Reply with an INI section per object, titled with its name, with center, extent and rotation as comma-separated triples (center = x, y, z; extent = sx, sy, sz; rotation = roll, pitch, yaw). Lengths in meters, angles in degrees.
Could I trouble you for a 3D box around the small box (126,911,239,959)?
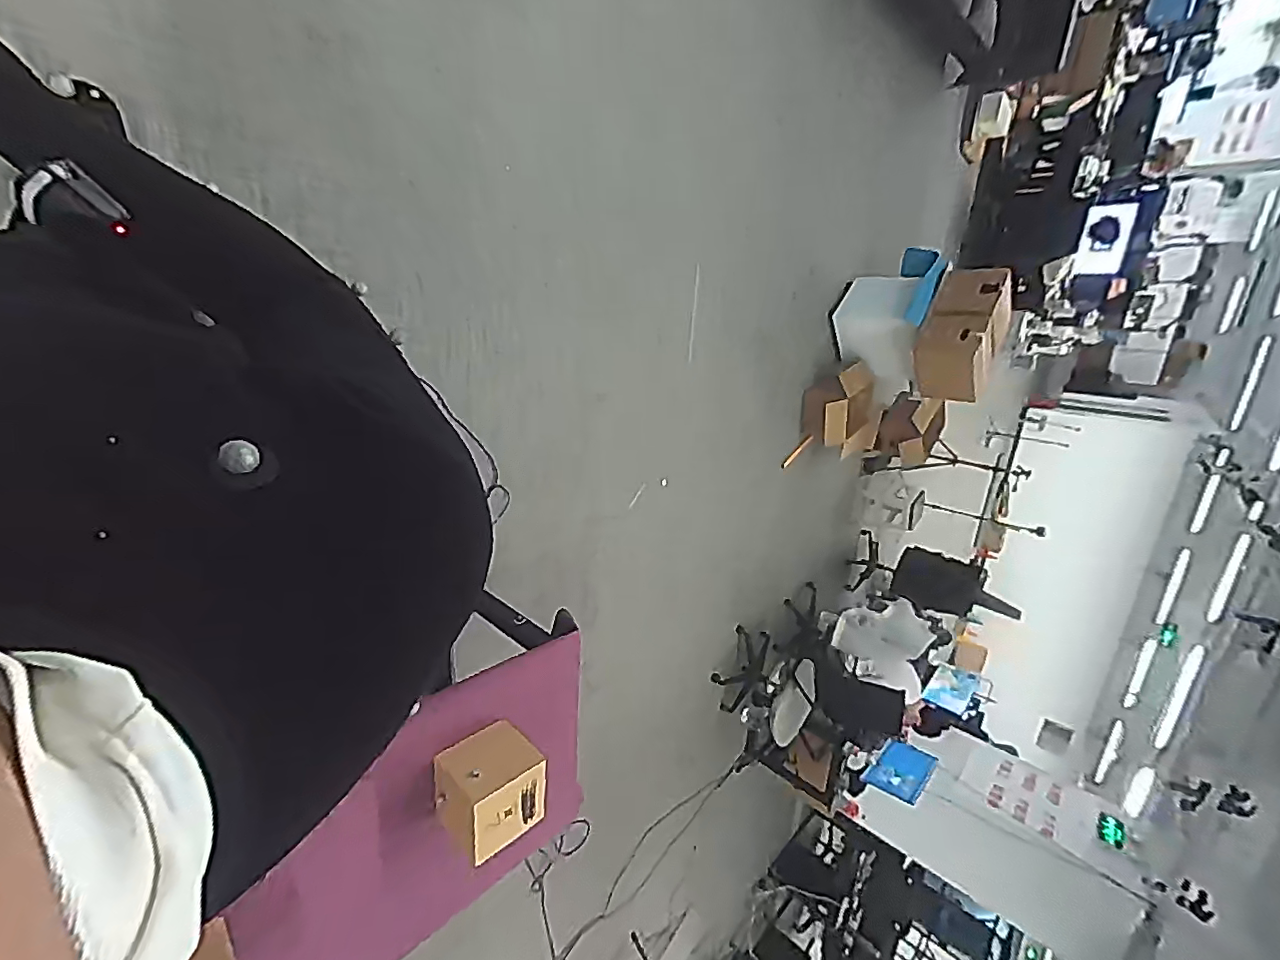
[small box]
center = -0.712, 0.820, 0.810
extent = 0.179, 0.176, 0.168
rotation = -10, 111, -49
